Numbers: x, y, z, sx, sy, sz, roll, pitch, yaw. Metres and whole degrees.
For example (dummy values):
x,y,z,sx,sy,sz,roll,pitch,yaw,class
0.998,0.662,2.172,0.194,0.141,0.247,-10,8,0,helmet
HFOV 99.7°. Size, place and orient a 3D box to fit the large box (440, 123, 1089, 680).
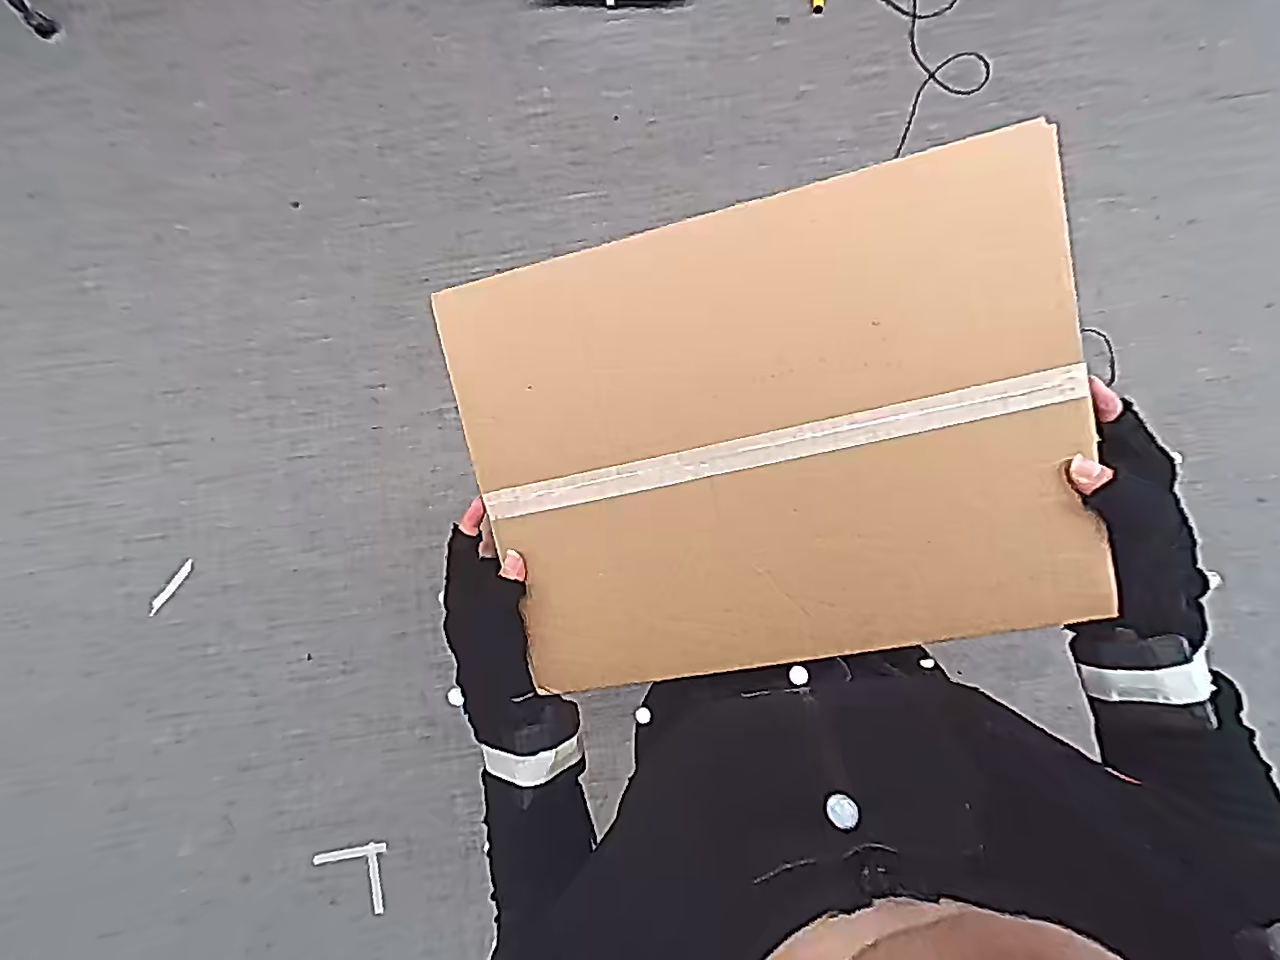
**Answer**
x,y,z,sx,sy,sz,roll,pitch,yaw,class
0.100,-0.052,0.522,0.408,0.320,0.320,-12,97,11,large box
